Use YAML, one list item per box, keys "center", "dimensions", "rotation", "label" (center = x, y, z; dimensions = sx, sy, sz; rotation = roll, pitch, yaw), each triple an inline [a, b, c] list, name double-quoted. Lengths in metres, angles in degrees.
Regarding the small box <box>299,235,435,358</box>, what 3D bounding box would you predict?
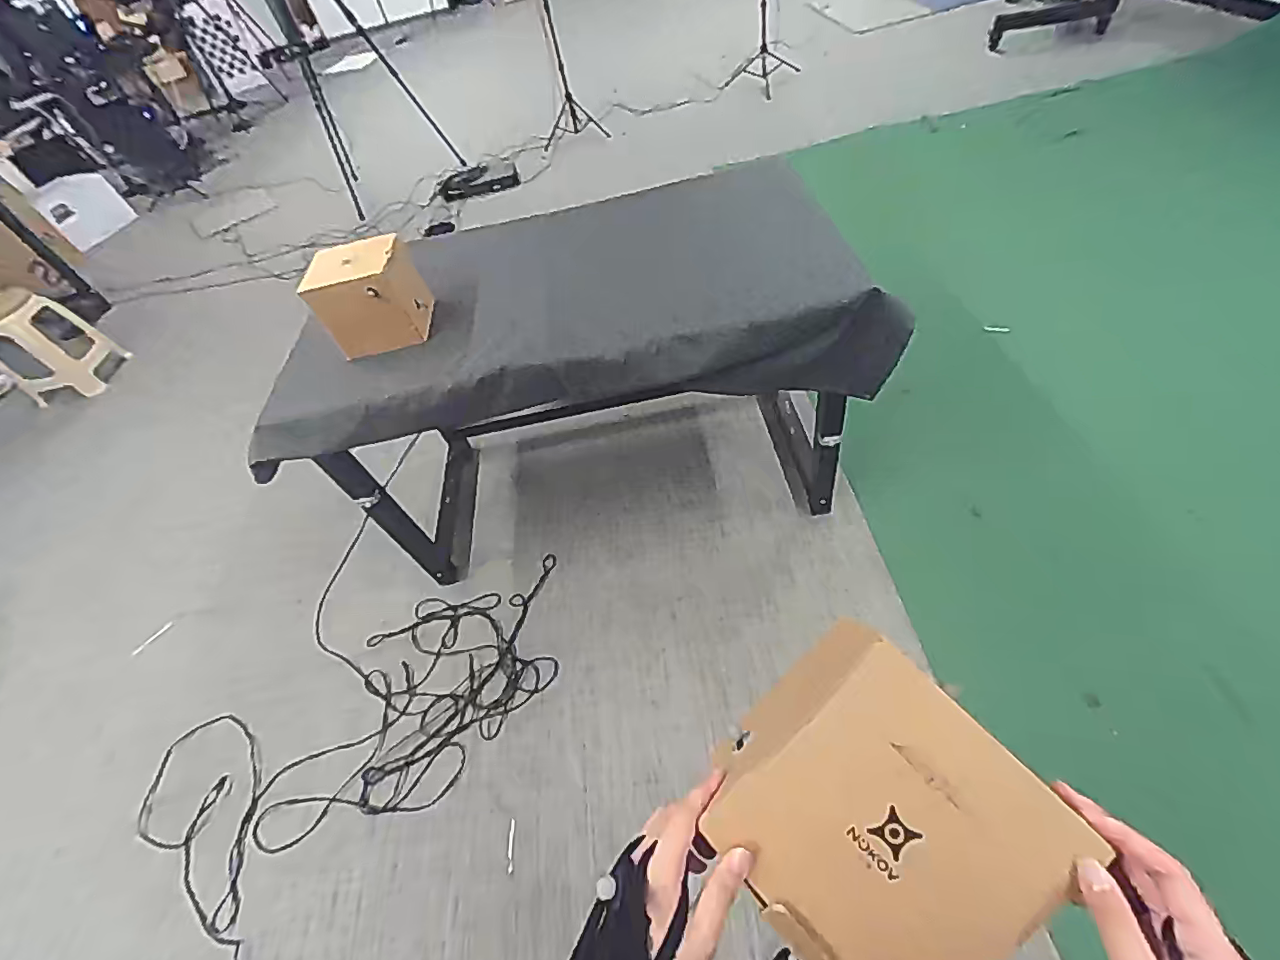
- center: [-0.556, -0.377, 1.127]
  dimensions: [0.179, 0.176, 0.168]
  rotation: [-12, 50, 2]
  label: "small box"
